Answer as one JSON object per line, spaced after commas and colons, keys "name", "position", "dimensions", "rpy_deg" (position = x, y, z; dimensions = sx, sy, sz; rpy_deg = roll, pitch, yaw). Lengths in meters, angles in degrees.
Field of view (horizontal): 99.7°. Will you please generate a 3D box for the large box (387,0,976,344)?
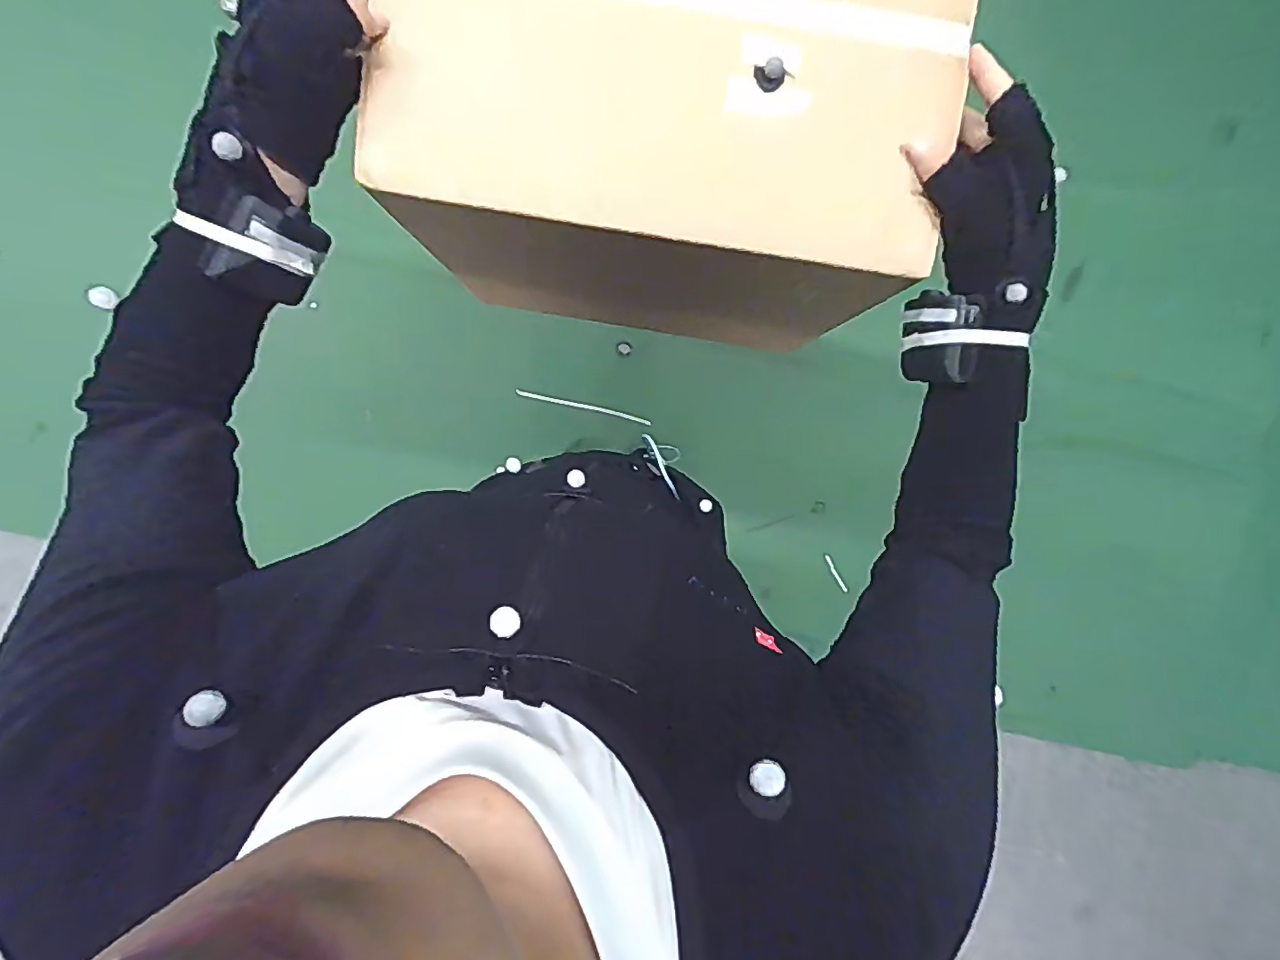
{"name": "large box", "position": [0.029, -0.339, 0.526], "dimensions": [0.408, 0.320, 0.320], "rpy_deg": [8, 94, -4]}
